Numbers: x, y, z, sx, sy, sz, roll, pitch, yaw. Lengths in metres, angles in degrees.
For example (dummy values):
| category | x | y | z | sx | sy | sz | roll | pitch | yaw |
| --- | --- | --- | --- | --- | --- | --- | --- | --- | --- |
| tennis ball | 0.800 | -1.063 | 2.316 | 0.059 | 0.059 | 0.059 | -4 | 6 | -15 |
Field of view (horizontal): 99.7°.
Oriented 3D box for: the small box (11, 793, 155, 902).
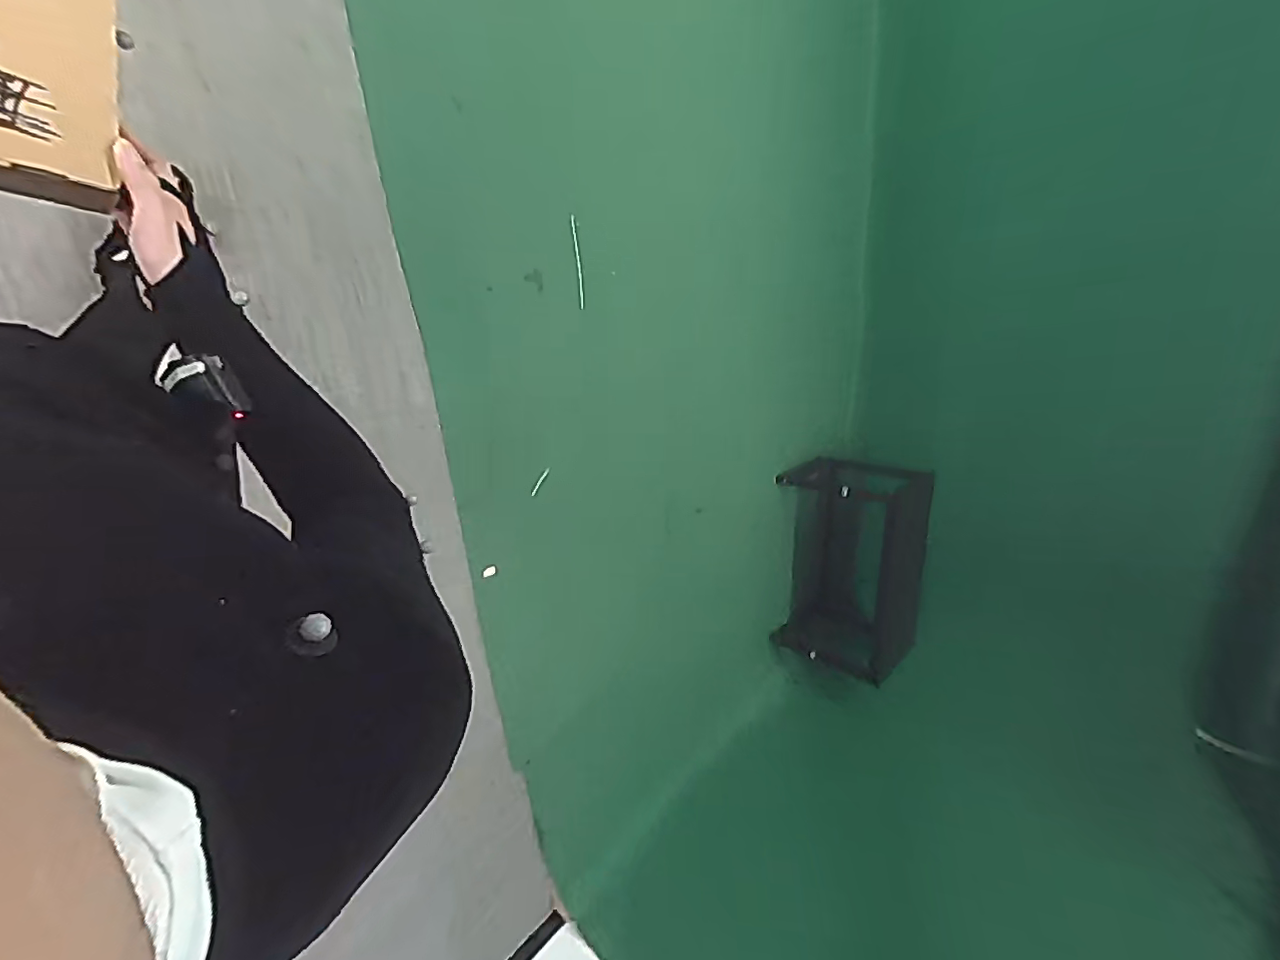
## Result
| category | x | y | z | sx | sy | sz | roll | pitch | yaw |
| --- | --- | --- | --- | --- | --- | --- | --- | --- | --- |
| small box | -1.088 | 0.772 | 1.069 | 0.168 | 0.176 | 0.179 | -17 | 112 | -43 |

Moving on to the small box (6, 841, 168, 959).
| category | x | y | z | sx | sy | sz | roll | pitch | yaw |
| --- | --- | --- | --- | --- | --- | --- | --- | --- | --- |
| small box | -0.969 | 0.800 | 0.958 | 0.168 | 0.176 | 0.179 | -17 | 112 | -44 |
